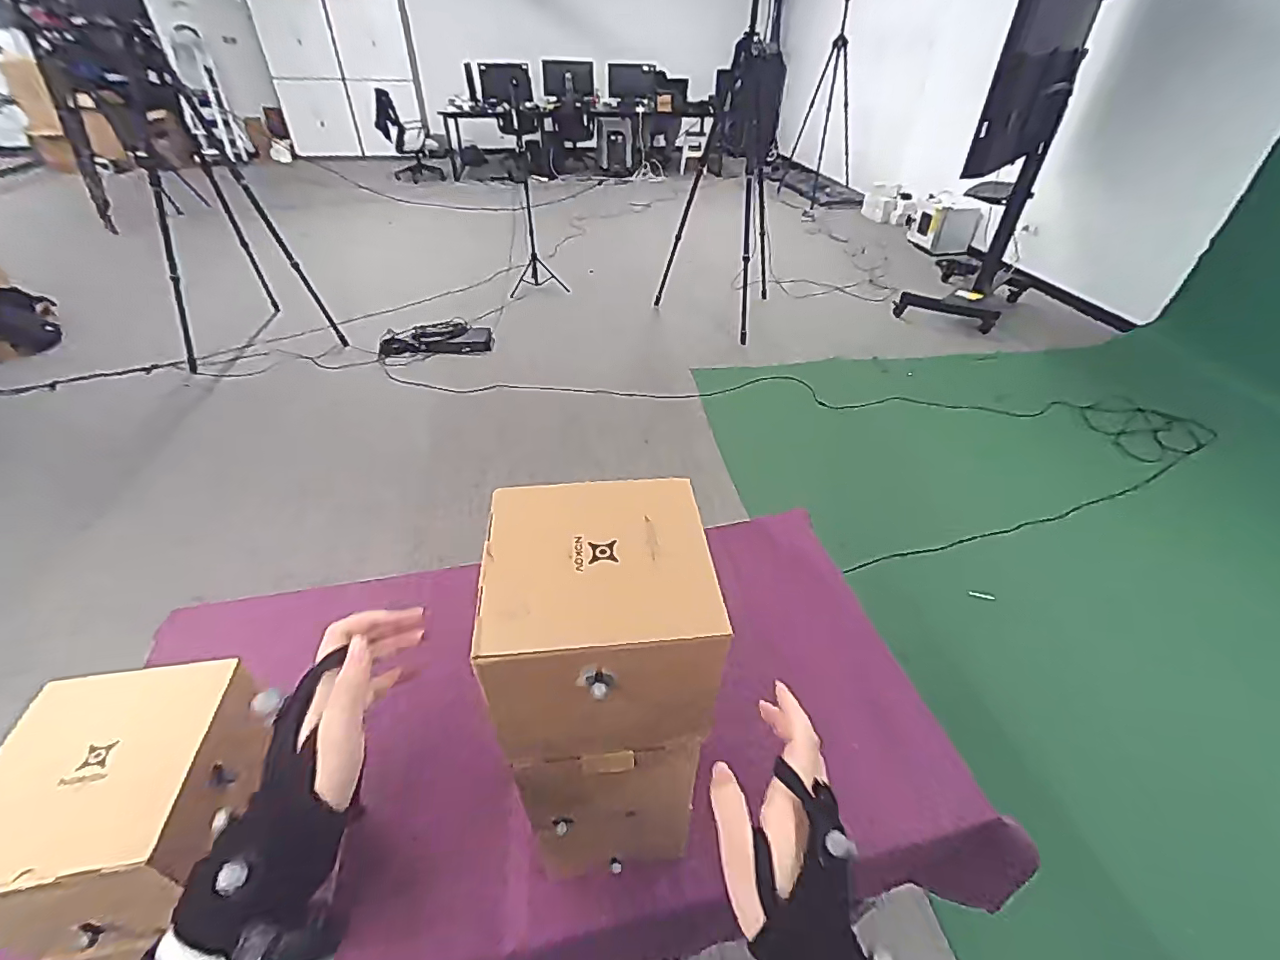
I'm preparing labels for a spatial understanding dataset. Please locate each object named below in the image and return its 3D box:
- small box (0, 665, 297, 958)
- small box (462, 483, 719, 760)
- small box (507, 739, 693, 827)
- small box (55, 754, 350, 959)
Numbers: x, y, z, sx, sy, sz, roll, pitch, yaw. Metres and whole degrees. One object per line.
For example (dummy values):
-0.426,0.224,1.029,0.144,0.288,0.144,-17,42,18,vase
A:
-0.456,0.305,0.507,0.168,0.176,0.179,-6,40,-8,small box
-0.038,0.122,0.469,0.179,0.176,0.168,-3,41,-5,small box
-0.041,0.245,0.577,0.168,0.176,0.179,-5,39,-5,small box
-0.452,0.437,0.603,0.179,0.176,0.168,-6,39,-8,small box
